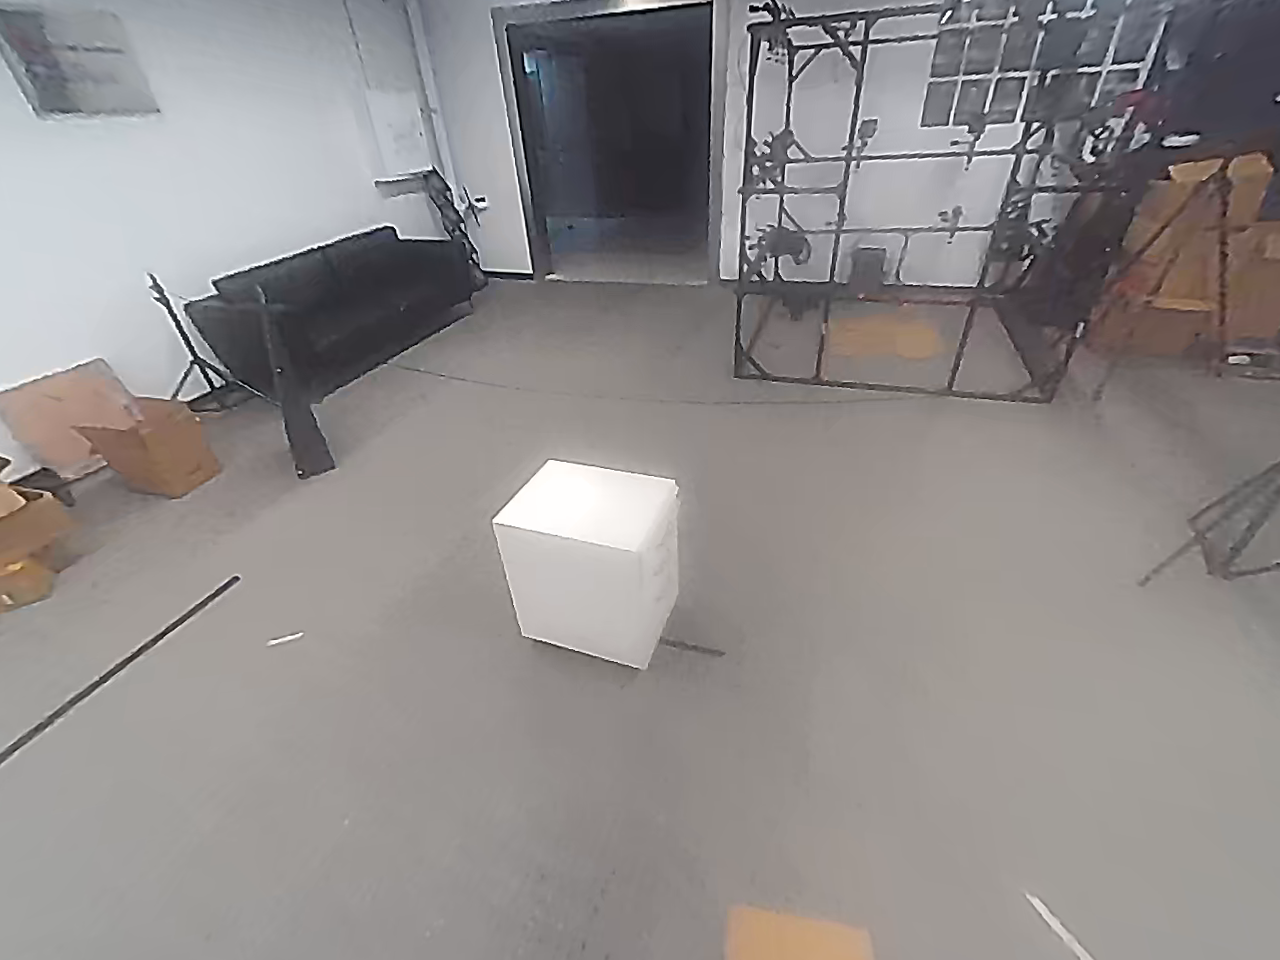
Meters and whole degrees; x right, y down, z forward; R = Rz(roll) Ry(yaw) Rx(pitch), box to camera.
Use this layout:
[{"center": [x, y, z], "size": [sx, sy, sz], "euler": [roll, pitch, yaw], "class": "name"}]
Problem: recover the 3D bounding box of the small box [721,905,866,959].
[{"center": [0.176, 0.640, 0.639], "size": [0.168, 0.176, 0.179], "euler": [0, 44, 12], "class": "small box"}]
